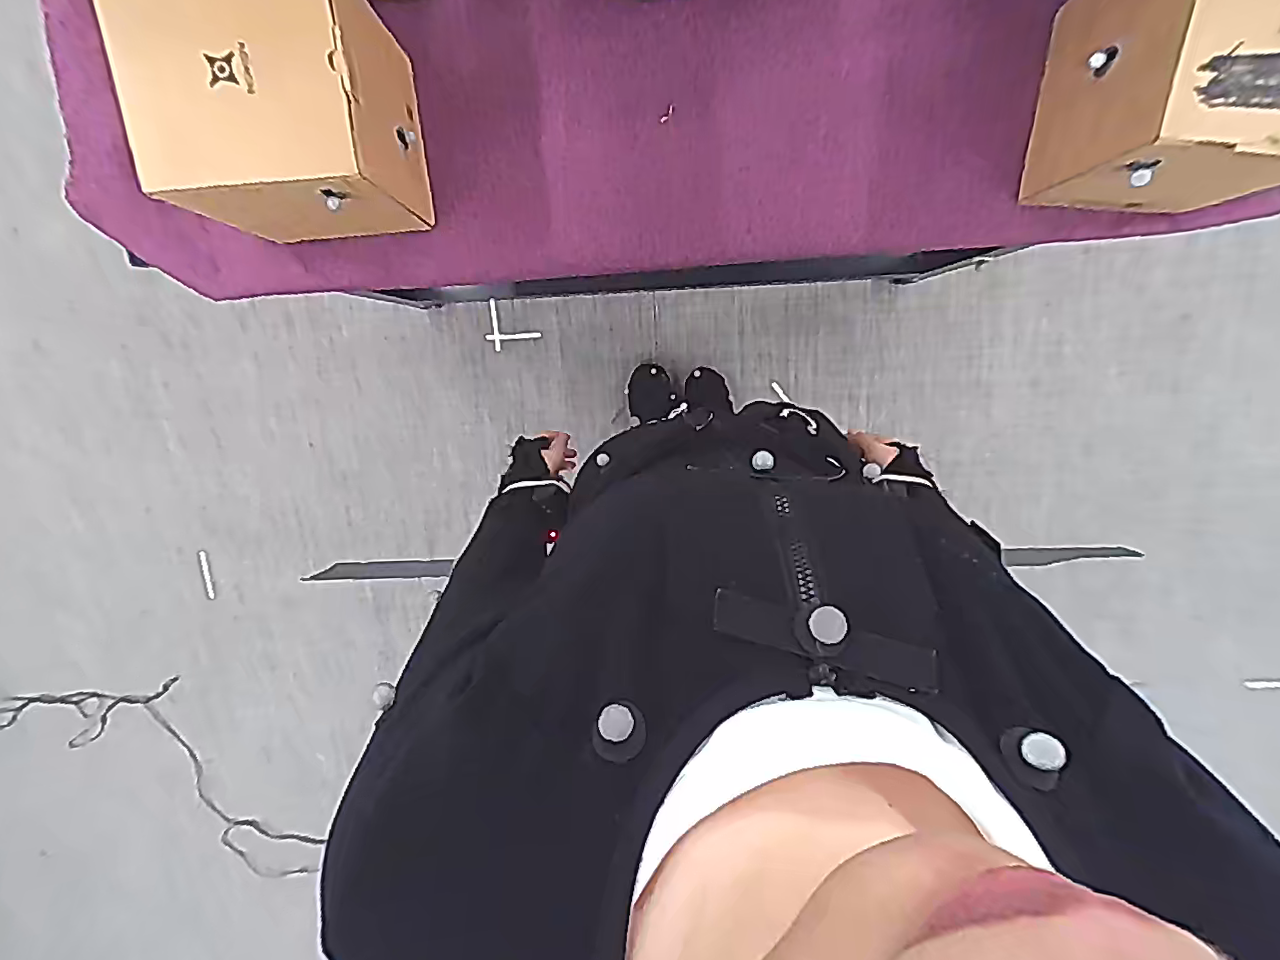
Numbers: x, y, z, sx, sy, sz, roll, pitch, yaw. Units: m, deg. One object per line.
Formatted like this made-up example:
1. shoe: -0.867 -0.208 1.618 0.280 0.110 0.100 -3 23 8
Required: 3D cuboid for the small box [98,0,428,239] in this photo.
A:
1. small box: -0.322 -0.333 0.499 0.179 0.176 0.168 -6 102 -1
